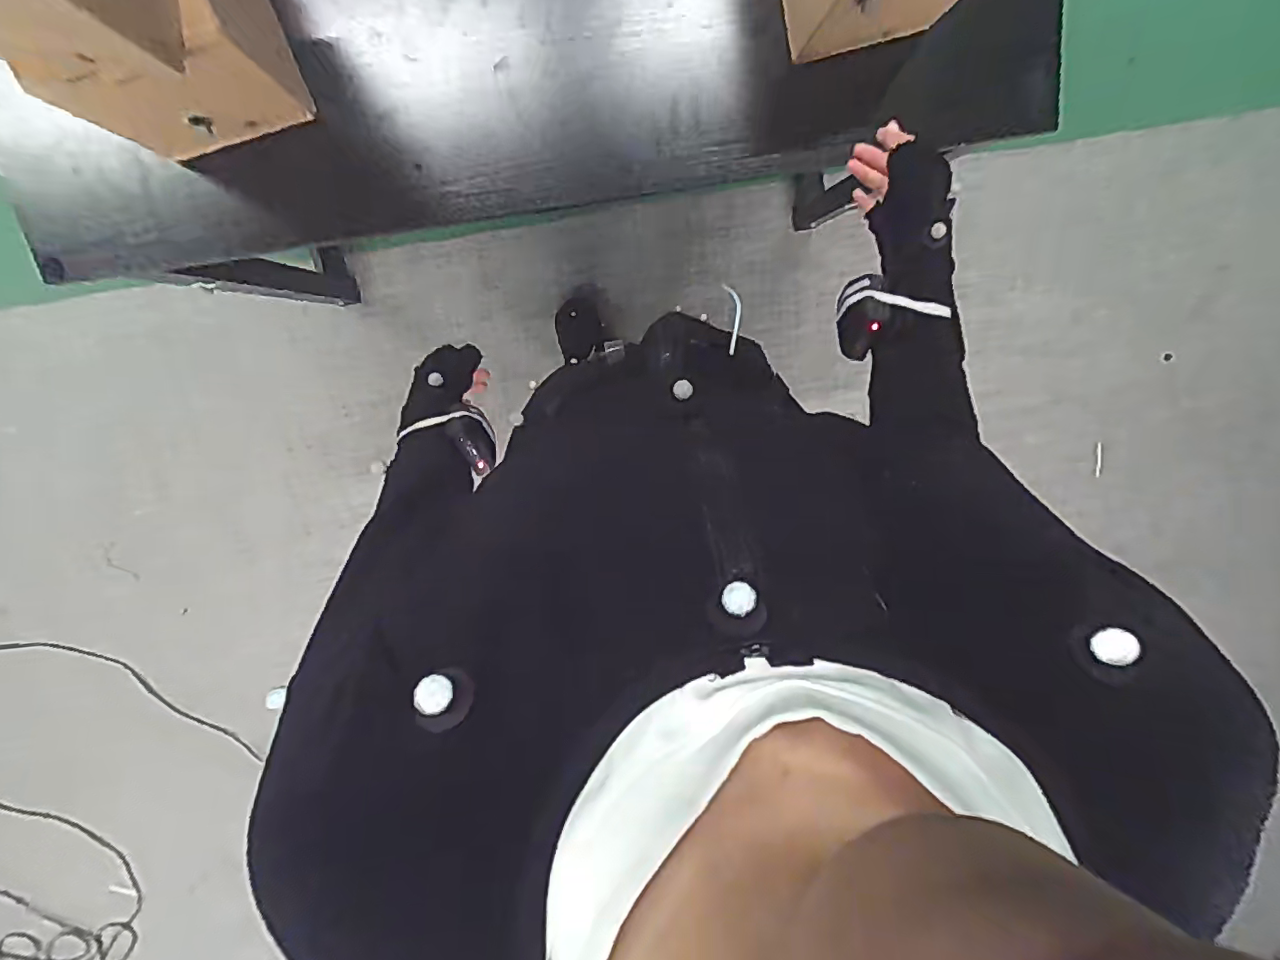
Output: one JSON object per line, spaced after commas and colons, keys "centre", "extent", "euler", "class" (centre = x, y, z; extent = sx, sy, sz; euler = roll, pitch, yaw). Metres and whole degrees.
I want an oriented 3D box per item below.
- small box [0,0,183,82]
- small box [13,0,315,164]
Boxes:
{"centre": [-0.433, -0.387, 0.337], "extent": [0.168, 0.176, 0.179], "euler": [2, 104, -7], "class": "small box"}
{"centre": [-0.446, -0.428, 0.495], "extent": [0.168, 0.176, 0.179], "euler": [-19, 106, -1], "class": "small box"}
